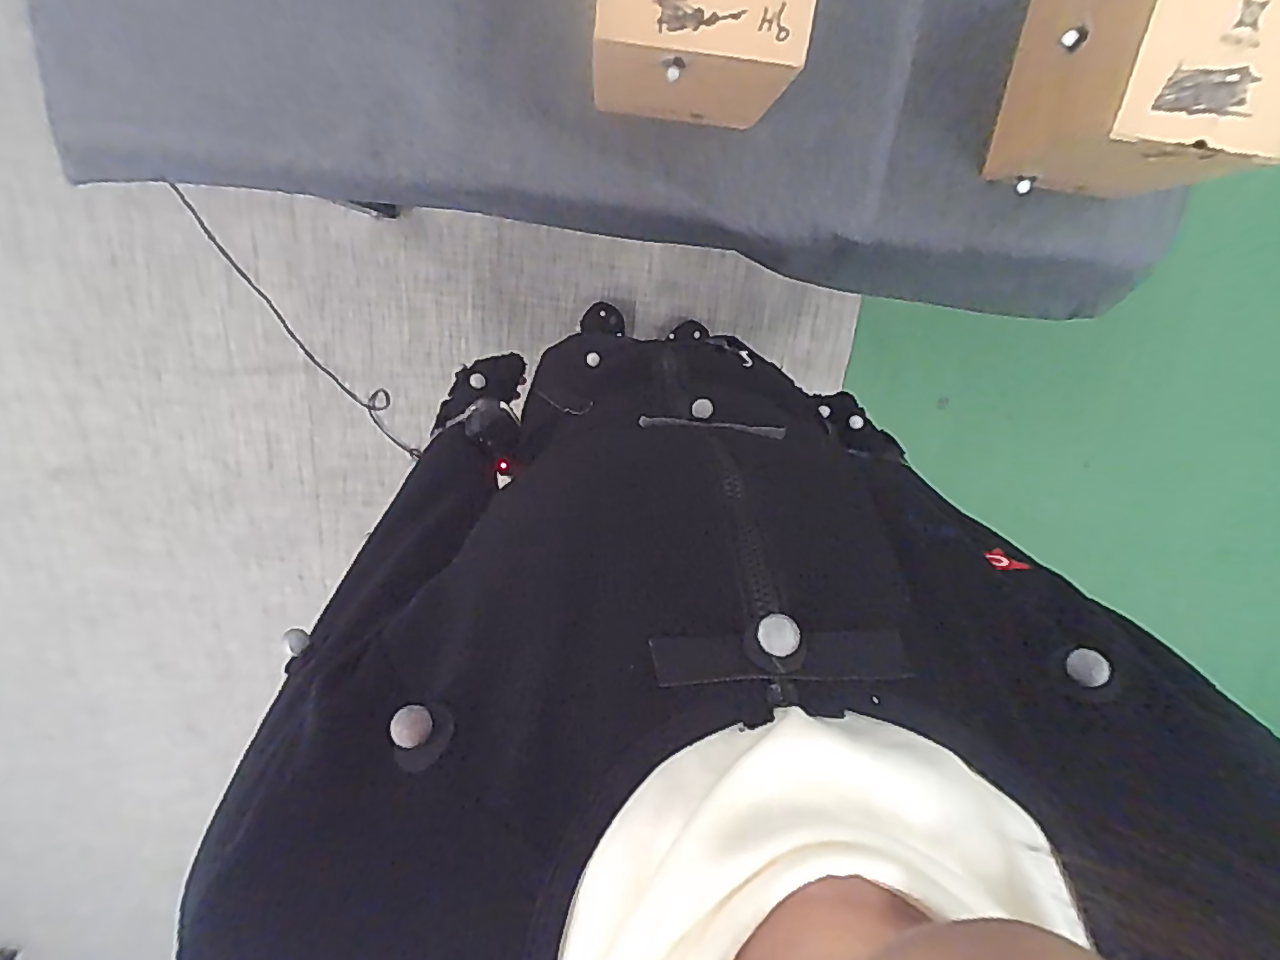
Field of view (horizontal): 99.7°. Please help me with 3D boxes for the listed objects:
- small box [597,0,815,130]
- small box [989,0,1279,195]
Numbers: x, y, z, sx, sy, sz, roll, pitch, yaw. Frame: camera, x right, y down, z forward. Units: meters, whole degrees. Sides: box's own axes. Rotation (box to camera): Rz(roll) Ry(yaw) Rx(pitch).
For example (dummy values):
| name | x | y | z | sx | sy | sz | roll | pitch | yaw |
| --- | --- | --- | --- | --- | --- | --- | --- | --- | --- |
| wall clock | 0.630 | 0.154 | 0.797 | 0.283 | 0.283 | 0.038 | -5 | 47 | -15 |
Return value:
| name | x | y | z | sx | sy | sz | roll | pitch | yaw |
| --- | --- | --- | --- | --- | --- | --- | --- | --- | --- |
| small box | 0.051 | -0.436 | 0.466 | 0.168 | 0.176 | 0.179 | 4 | 108 | -5 |
| small box | 0.473 | -0.385 | 0.508 | 0.168 | 0.176 | 0.179 | 6 | 107 | -5 |
